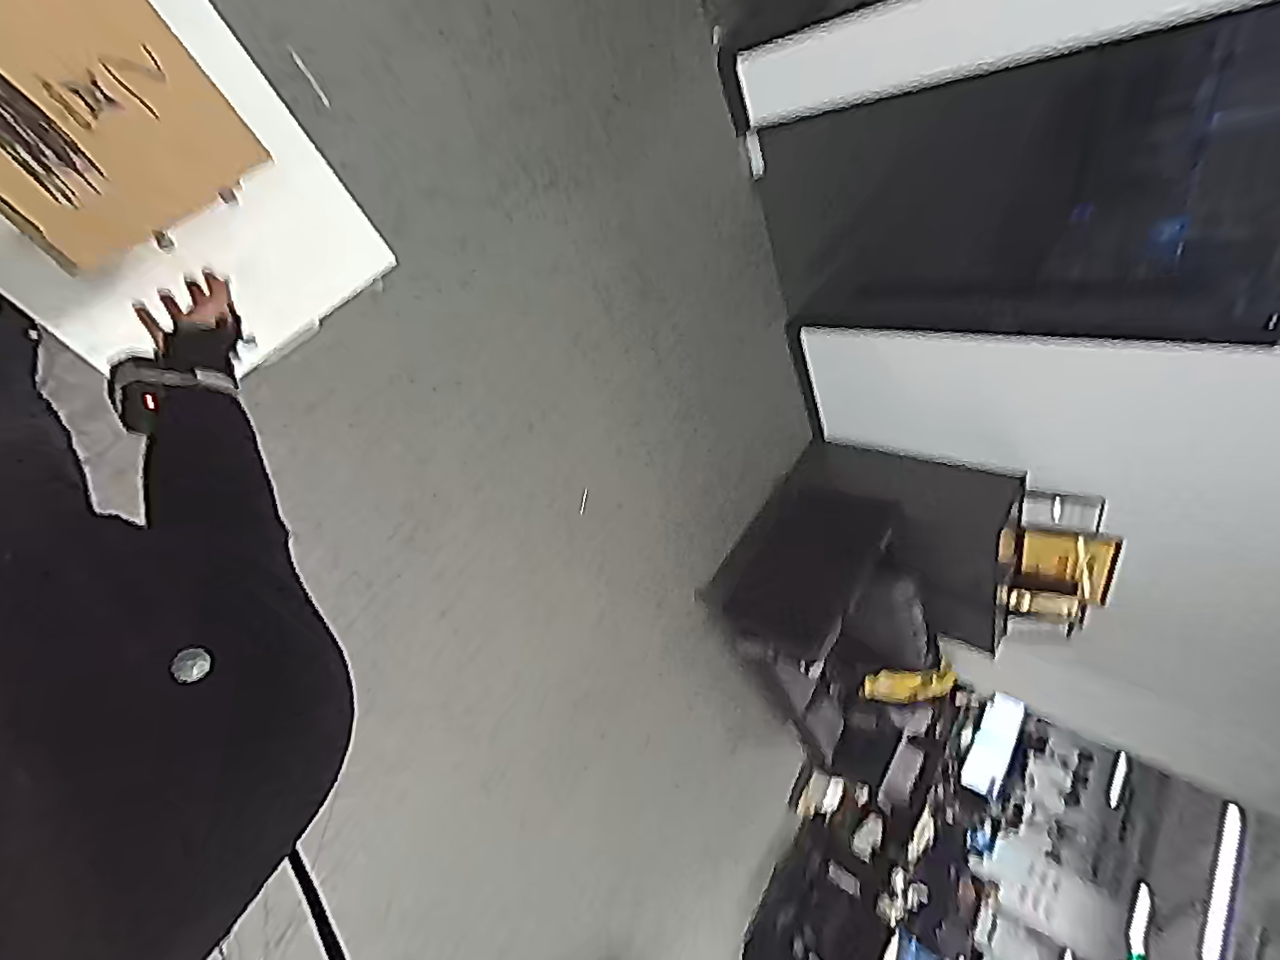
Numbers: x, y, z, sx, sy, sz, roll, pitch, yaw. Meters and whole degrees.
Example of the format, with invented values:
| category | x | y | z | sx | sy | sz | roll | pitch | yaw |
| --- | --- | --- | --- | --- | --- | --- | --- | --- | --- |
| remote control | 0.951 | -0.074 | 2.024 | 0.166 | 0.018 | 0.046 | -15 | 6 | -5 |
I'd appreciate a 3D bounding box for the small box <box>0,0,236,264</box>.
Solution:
| category | x | y | z | sx | sy | sz | roll | pitch | yaw |
| --- | --- | --- | --- | --- | --- | --- | --- | --- | --- |
| small box | -0.567 | -0.336 | 0.541 | 0.179 | 0.176 | 0.168 | -50 | 135 | -25 |
